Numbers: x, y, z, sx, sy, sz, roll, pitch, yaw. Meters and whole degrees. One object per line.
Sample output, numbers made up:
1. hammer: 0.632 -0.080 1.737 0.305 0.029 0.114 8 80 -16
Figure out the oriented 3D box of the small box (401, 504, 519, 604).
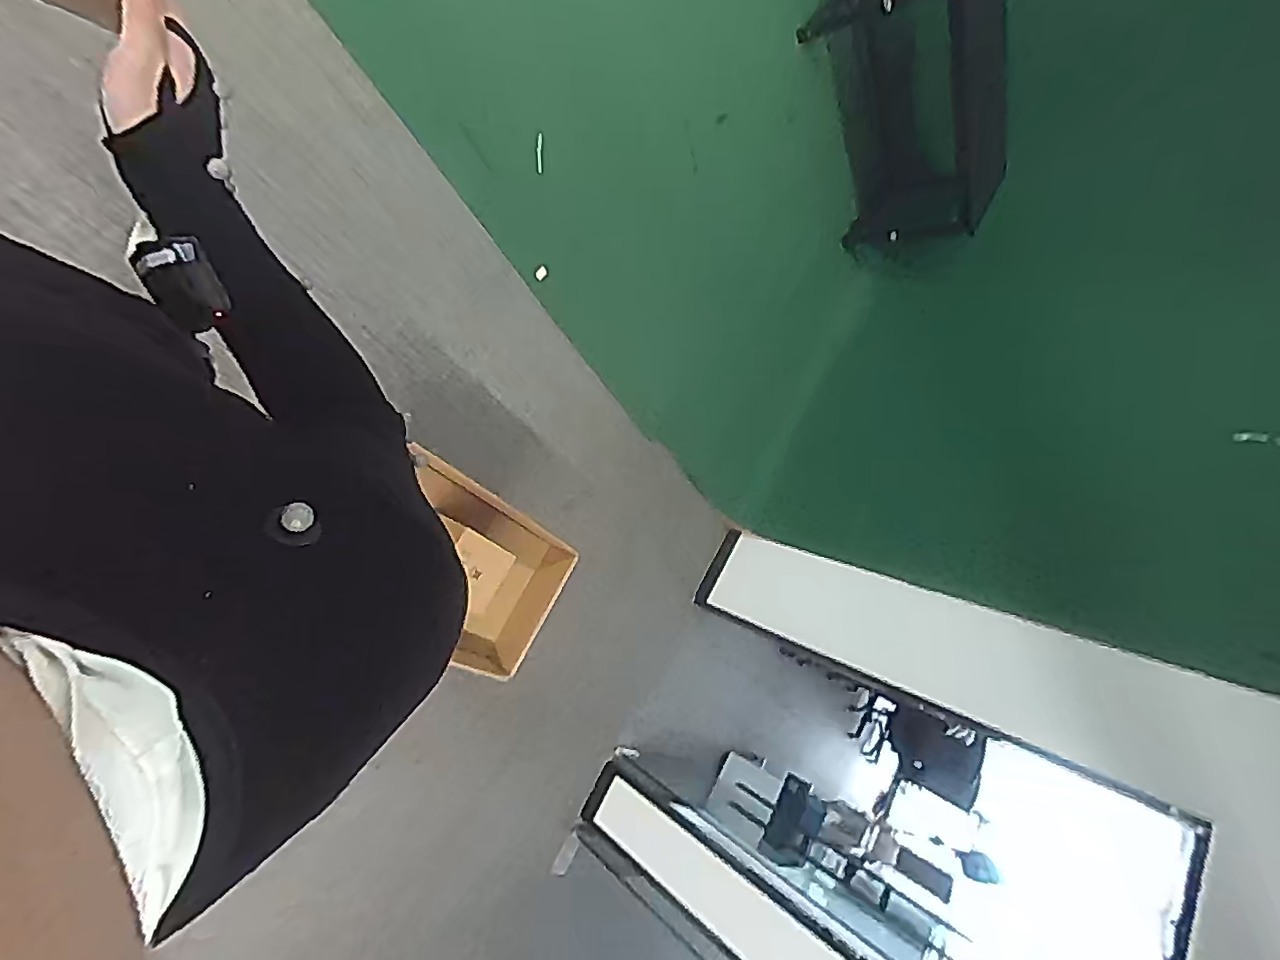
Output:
1. small box: -0.441 0.177 1.328 0.179 0.176 0.168 45 68 -46
